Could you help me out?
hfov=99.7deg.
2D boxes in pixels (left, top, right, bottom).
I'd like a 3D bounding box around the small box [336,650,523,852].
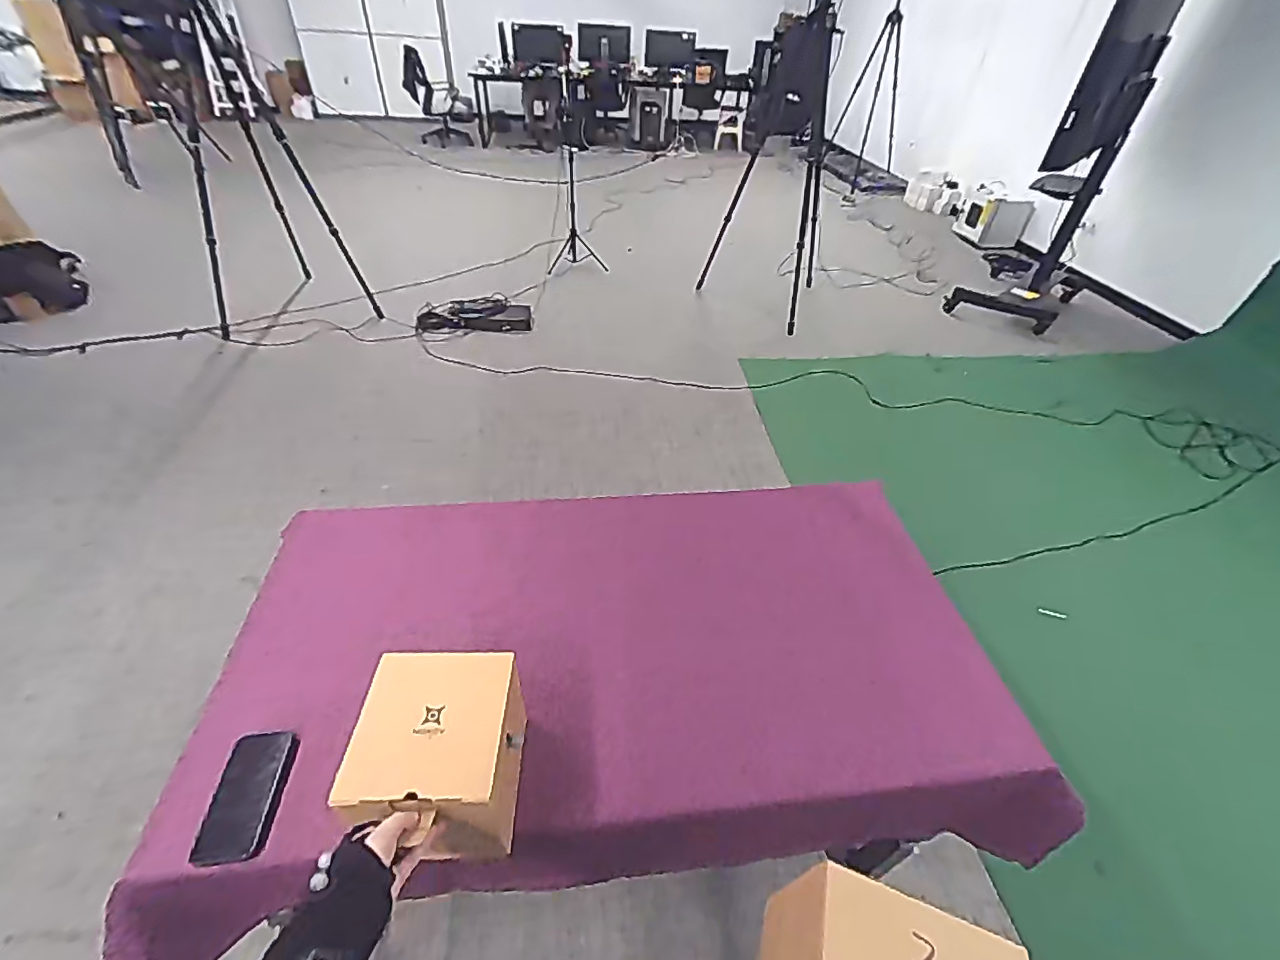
[{"bbox_3d":[-0.242,0.337,0.678,0.168,0.176,0.179,1,40,-3],"label":"small box"}]
